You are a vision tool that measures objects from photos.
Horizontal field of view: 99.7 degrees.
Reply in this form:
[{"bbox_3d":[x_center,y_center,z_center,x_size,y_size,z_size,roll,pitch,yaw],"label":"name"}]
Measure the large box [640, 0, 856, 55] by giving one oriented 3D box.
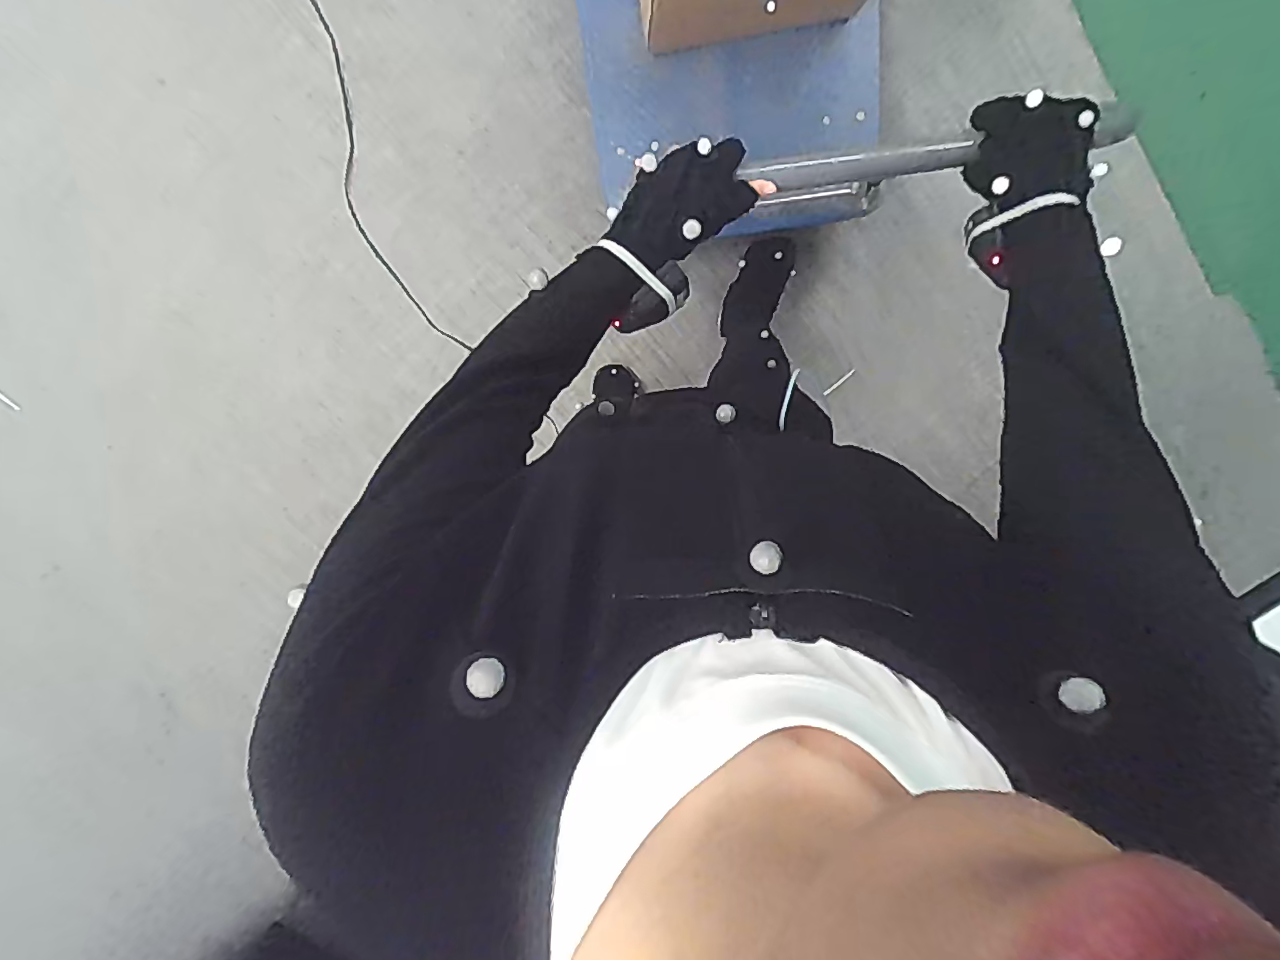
[{"bbox_3d":[0.189,-0.954,0.861,0.408,0.320,0.320,-11,108,2],"label":"large box"}]
